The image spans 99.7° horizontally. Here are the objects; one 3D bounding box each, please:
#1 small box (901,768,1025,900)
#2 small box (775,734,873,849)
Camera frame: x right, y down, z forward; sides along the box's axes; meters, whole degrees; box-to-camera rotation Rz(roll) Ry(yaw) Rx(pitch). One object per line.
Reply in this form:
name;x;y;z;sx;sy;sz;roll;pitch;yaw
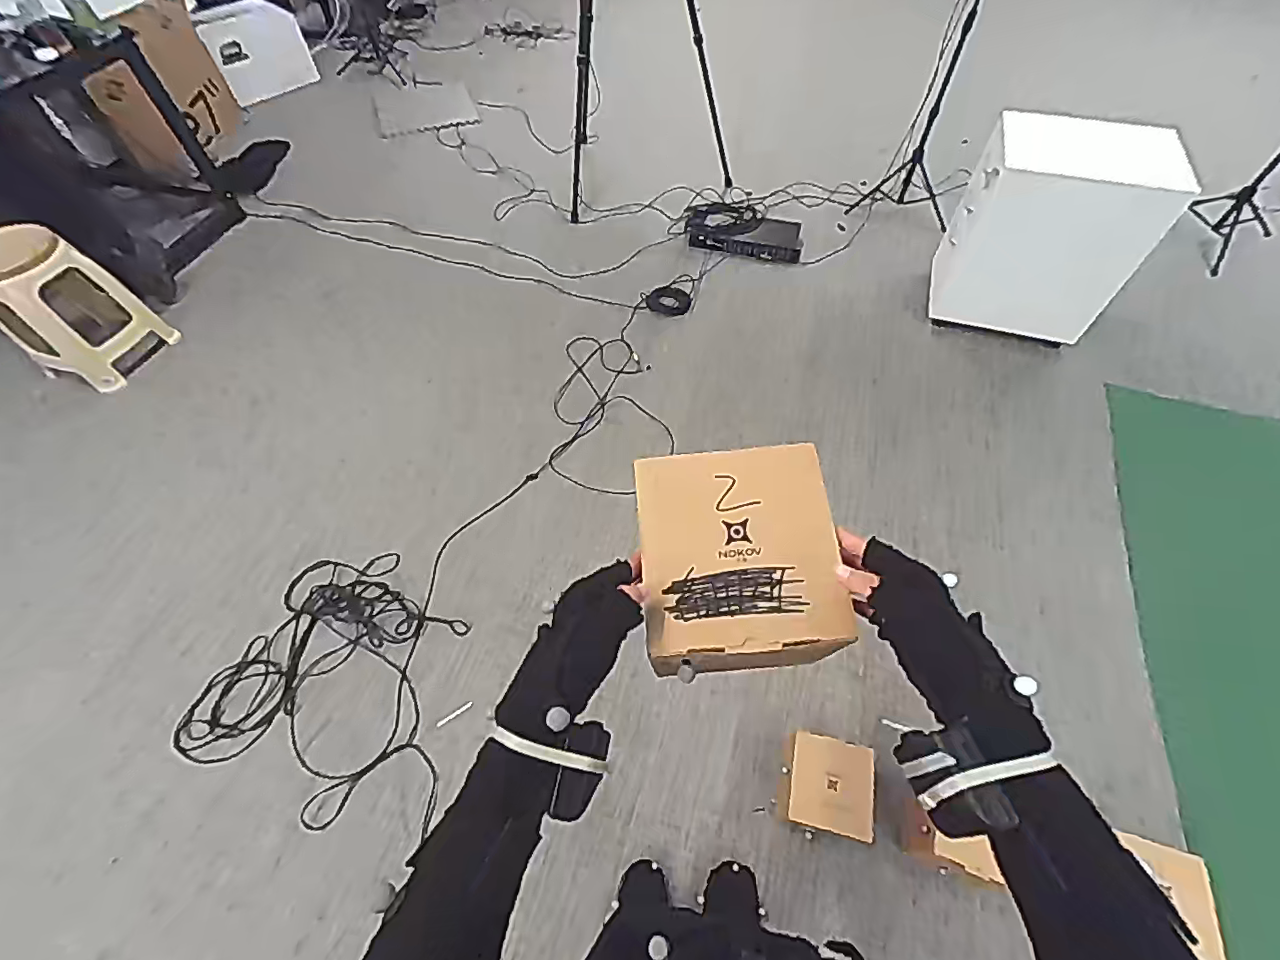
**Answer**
small box;0.673;0.740;1.138;0.168;0.176;0.179;19;59;13
small box;0.397;0.681;1.181;0.168;0.176;0.179;10;58;10
